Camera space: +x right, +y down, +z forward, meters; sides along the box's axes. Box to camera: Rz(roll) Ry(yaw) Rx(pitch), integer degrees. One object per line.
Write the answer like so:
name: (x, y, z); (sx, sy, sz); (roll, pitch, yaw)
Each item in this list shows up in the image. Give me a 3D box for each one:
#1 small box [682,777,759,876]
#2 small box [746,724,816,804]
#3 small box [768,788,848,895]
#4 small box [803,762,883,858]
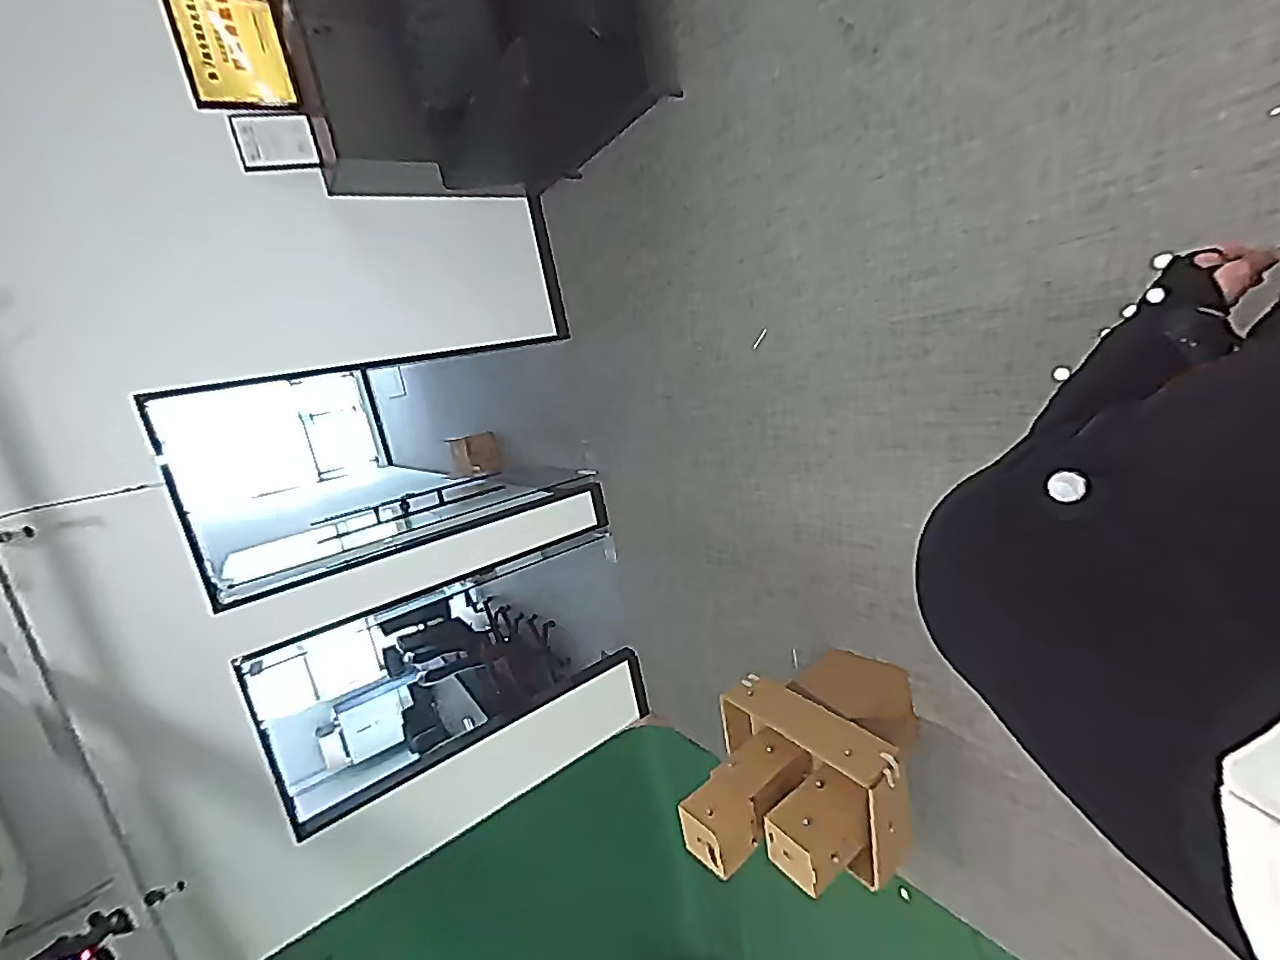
small box: (0.263, 1.092, 1.725); (0.179, 0.176, 0.168); (5, 109, 53)
small box: (0.505, 1.005, 1.931); (0.179, 0.176, 0.168); (8, 111, 52)
small box: (0.514, 1.081, 1.637); (0.179, 0.176, 0.168); (12, 115, 54)
small box: (0.646, 1.037, 1.723); (0.179, 0.176, 0.168); (13, 117, 55)
